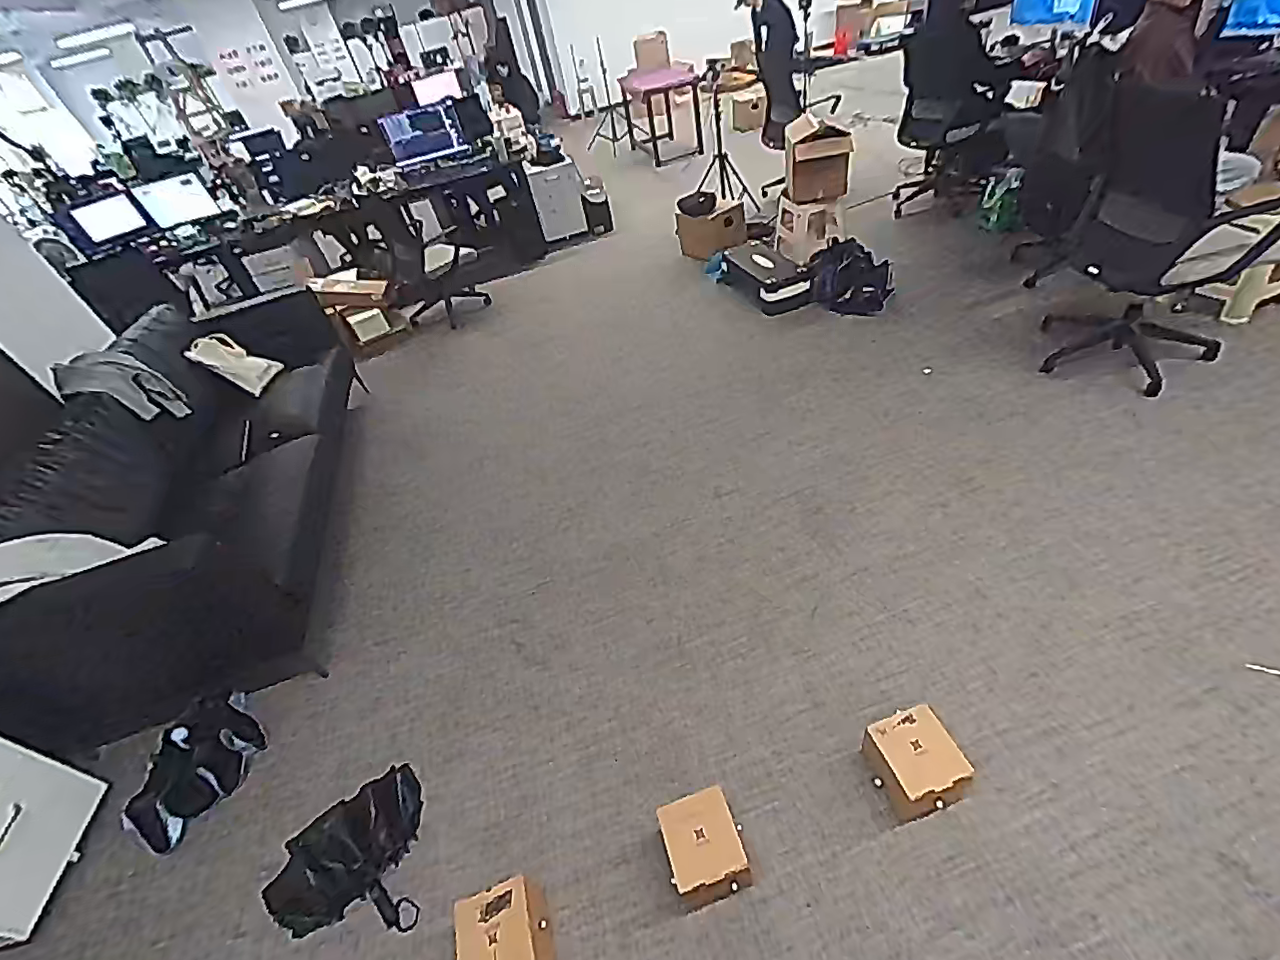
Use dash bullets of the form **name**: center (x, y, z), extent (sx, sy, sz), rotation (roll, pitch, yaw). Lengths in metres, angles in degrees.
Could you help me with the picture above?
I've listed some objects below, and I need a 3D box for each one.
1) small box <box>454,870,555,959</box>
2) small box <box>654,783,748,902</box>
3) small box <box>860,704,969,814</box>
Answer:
- **small box**: center (-0.305, 1.033, 1.224), extent (0.168, 0.176, 0.179), rotation (-21, 43, -7)
- **small box**: center (0.148, 0.867, 1.285), extent (0.168, 0.176, 0.179), rotation (-18, 40, -6)
- **small box**: center (0.664, 0.692, 1.329), extent (0.168, 0.176, 0.179), rotation (-19, 42, -4)
